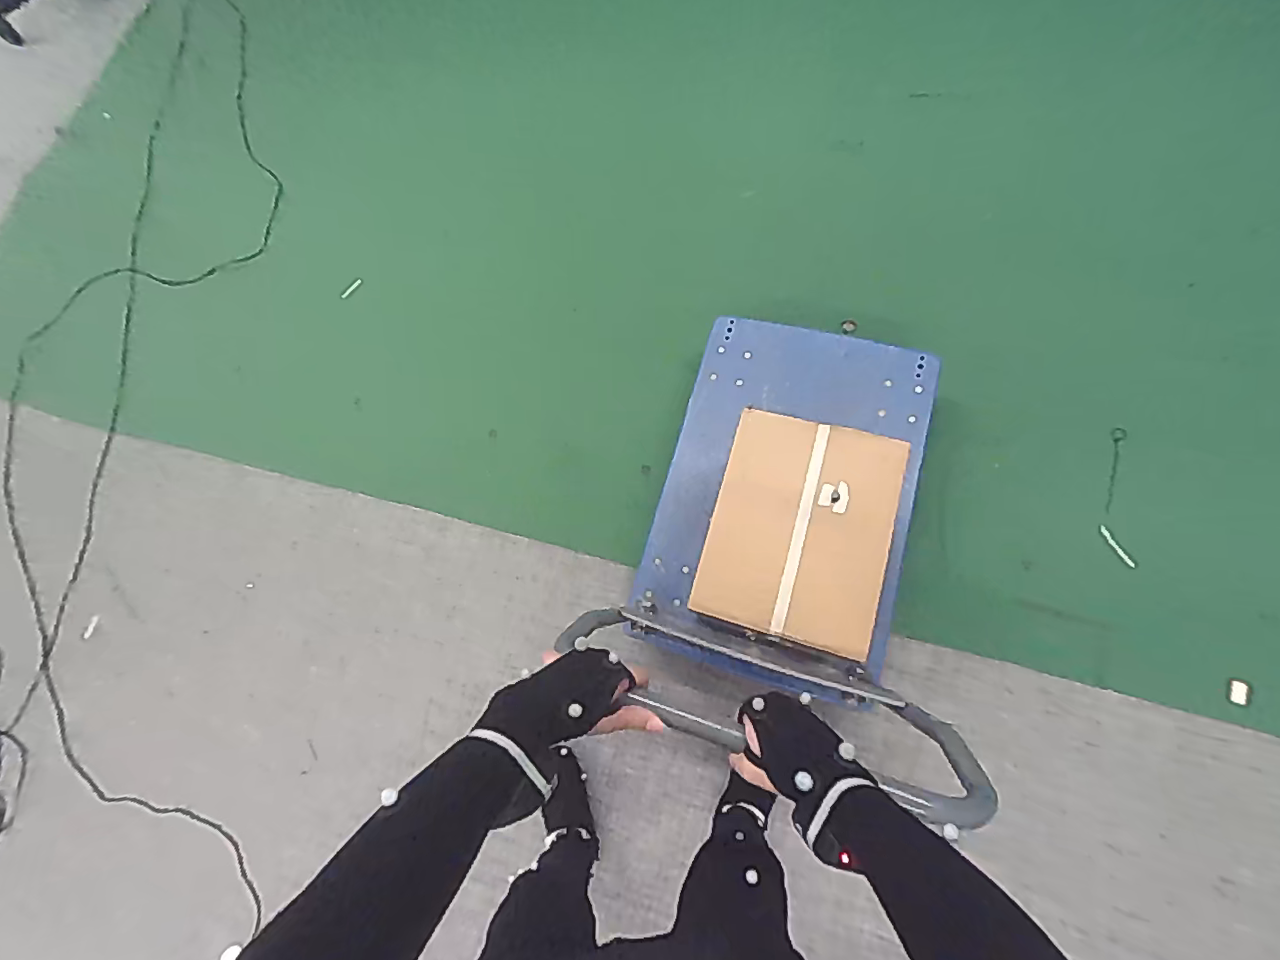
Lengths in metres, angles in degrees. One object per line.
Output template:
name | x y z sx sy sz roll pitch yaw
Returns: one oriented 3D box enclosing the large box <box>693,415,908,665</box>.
large box | 0.314 0.135 1.111 0.320 0.320 0.408 15 76 12
